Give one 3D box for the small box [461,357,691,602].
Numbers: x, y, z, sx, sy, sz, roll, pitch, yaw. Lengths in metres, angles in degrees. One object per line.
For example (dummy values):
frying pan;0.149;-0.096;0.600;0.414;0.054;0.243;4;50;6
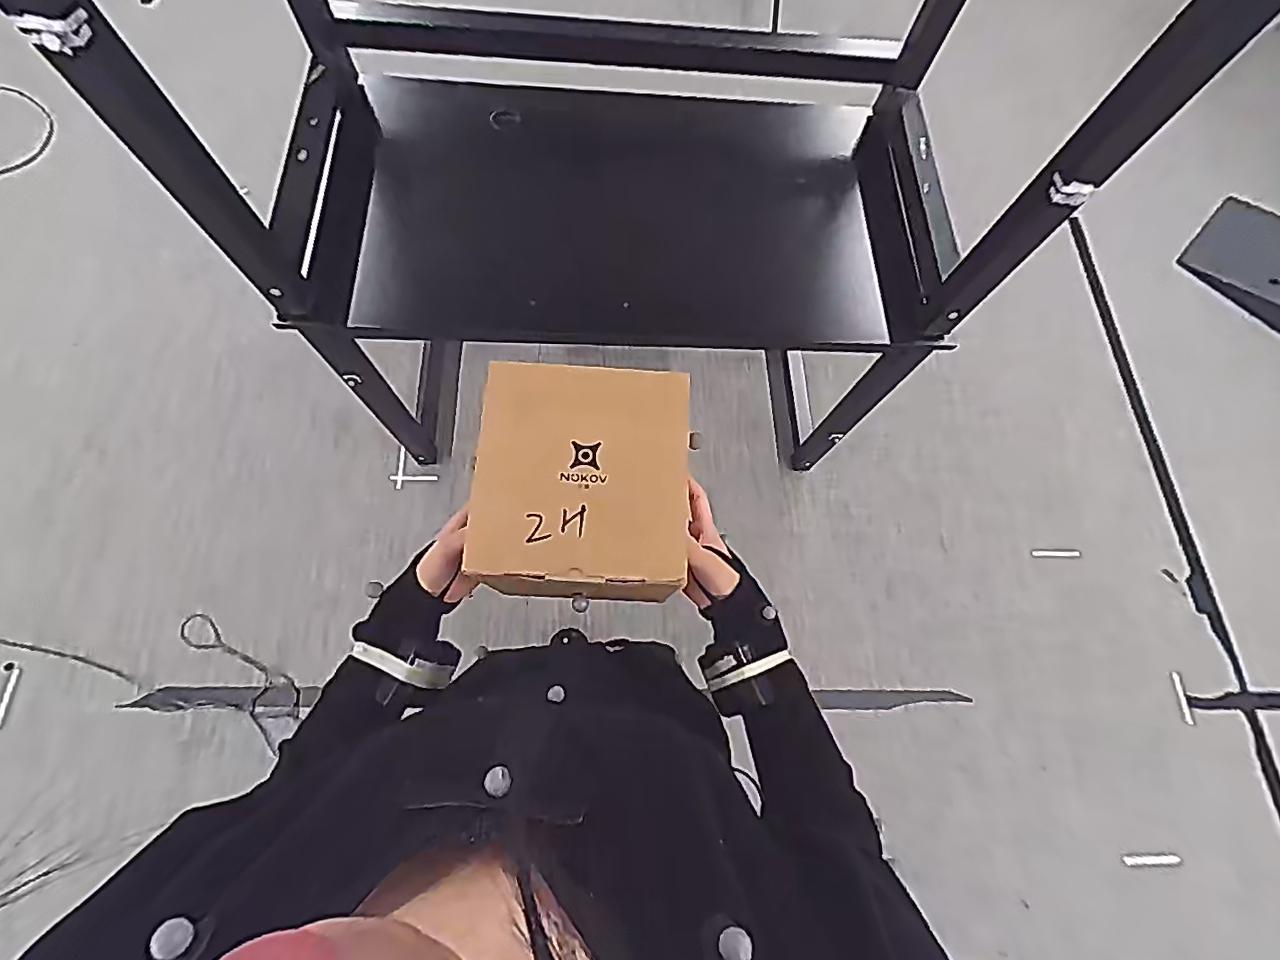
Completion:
small box;-0.049;0.011;0.493;0.168;0.176;0.179;3;73;-2
